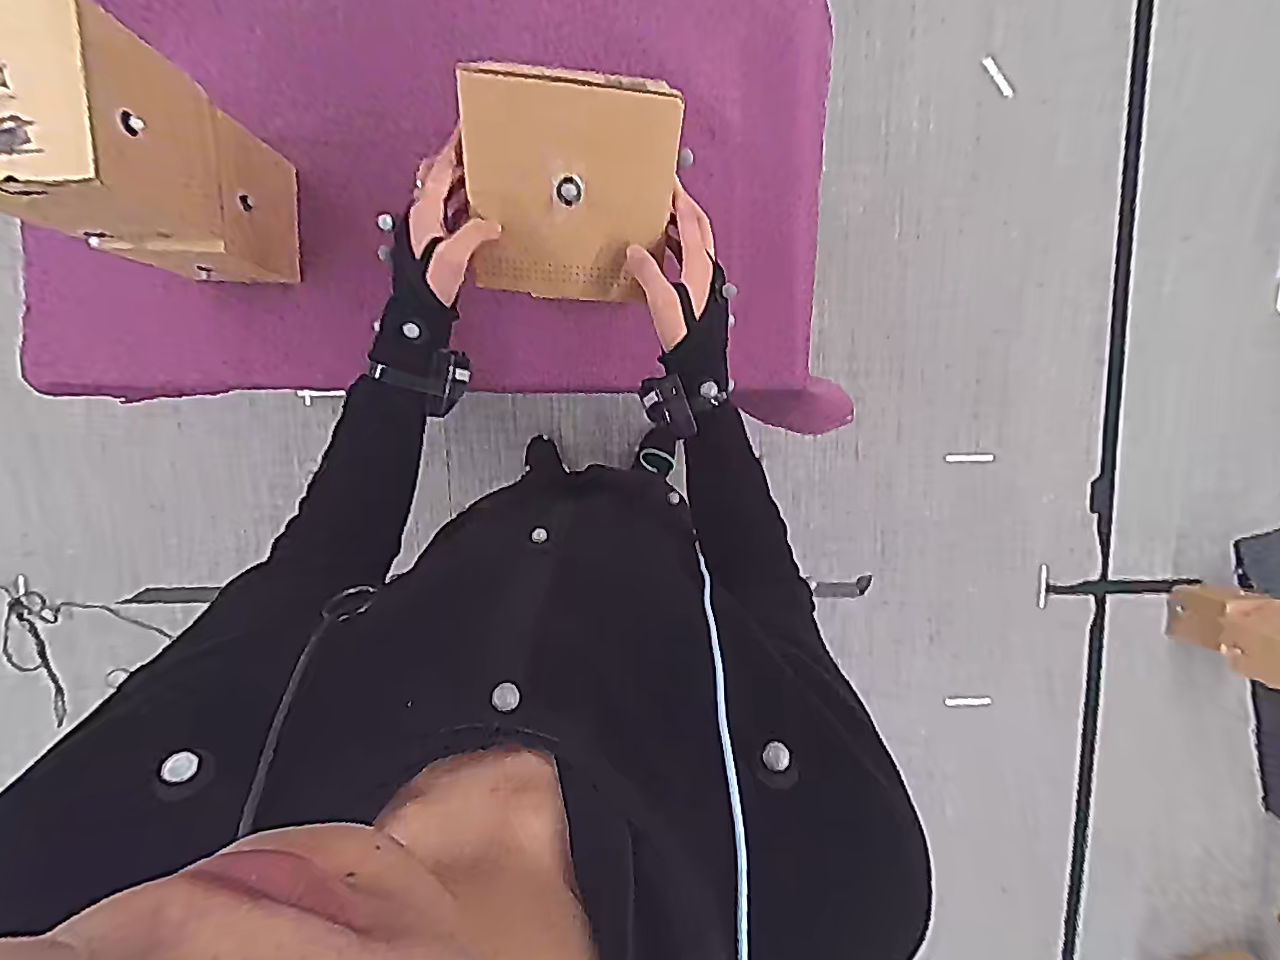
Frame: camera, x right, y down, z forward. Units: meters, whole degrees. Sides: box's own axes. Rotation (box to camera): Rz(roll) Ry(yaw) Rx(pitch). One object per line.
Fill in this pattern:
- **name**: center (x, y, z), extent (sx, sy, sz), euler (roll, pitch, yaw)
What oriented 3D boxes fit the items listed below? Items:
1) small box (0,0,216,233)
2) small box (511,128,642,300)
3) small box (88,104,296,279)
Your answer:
- **small box**: center (-0.600, -0.378, 0.581), extent (0.168, 0.176, 0.179), euler (-2, 96, -3)
- **small box**: center (-0.084, -0.365, 0.775), extent (0.168, 0.176, 0.179), euler (2, 96, -2)
- **small box**: center (-0.603, -0.387, 0.745), extent (0.168, 0.176, 0.179), euler (2, 97, -4)
